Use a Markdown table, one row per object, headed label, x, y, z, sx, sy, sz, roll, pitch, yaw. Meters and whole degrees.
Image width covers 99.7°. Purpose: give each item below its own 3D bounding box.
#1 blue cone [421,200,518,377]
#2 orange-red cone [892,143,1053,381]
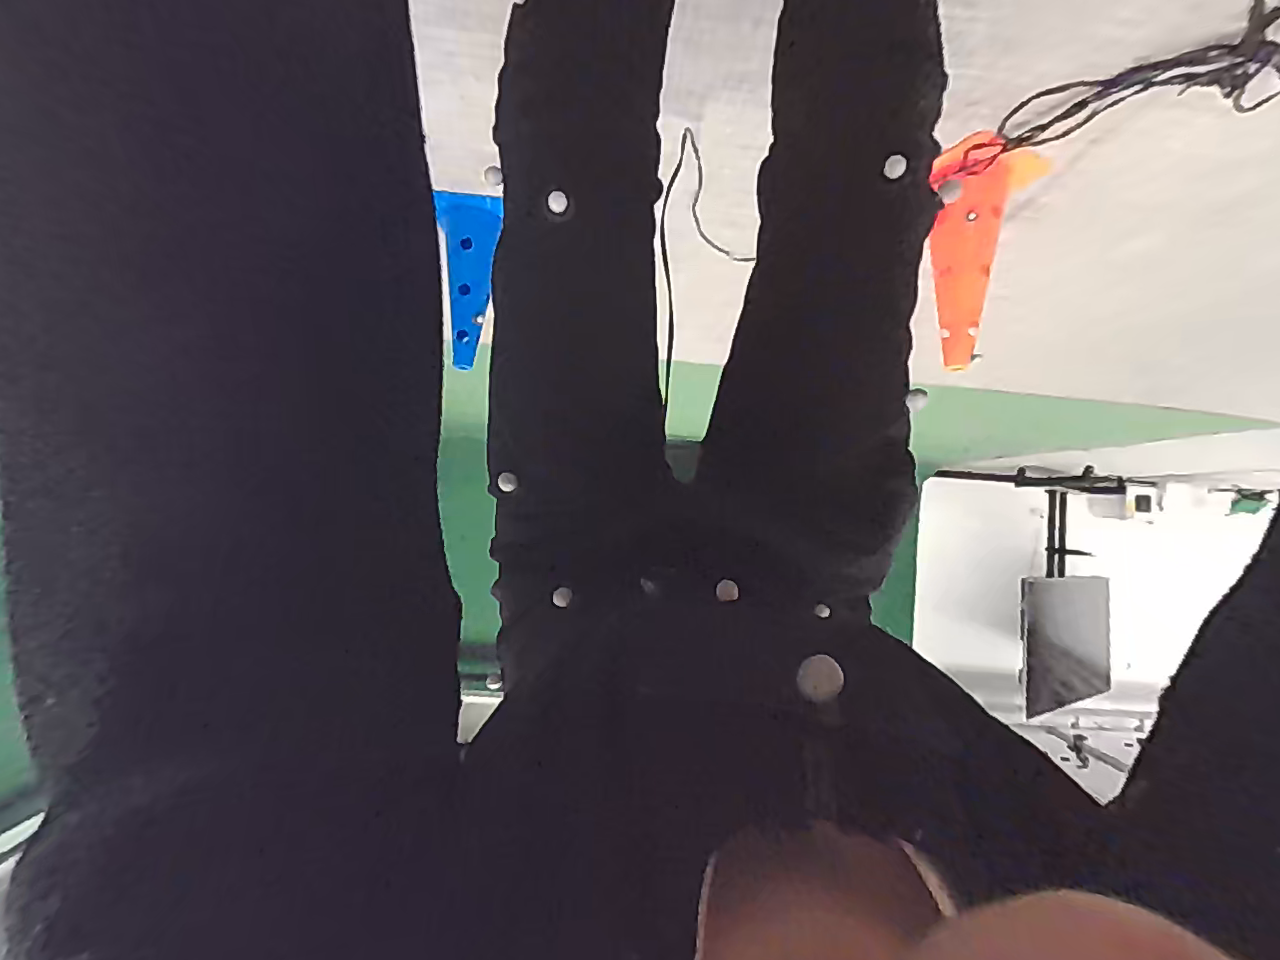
| label | x | y | z | sx | sy | sz | roll | pitch | yaw |
| --- | --- | --- | --- | --- | --- | --- | --- | --- | --- |
| blue cone | -0.404 | -0.426 | 1.251 | 0.192 | 0.380 | 0.193 | 5 | 175 | -3 |
| orange-red cone | 0.582 | -0.357 | 0.964 | 0.199 | 0.360 | 0.198 | 5 | 177 | -23 |
